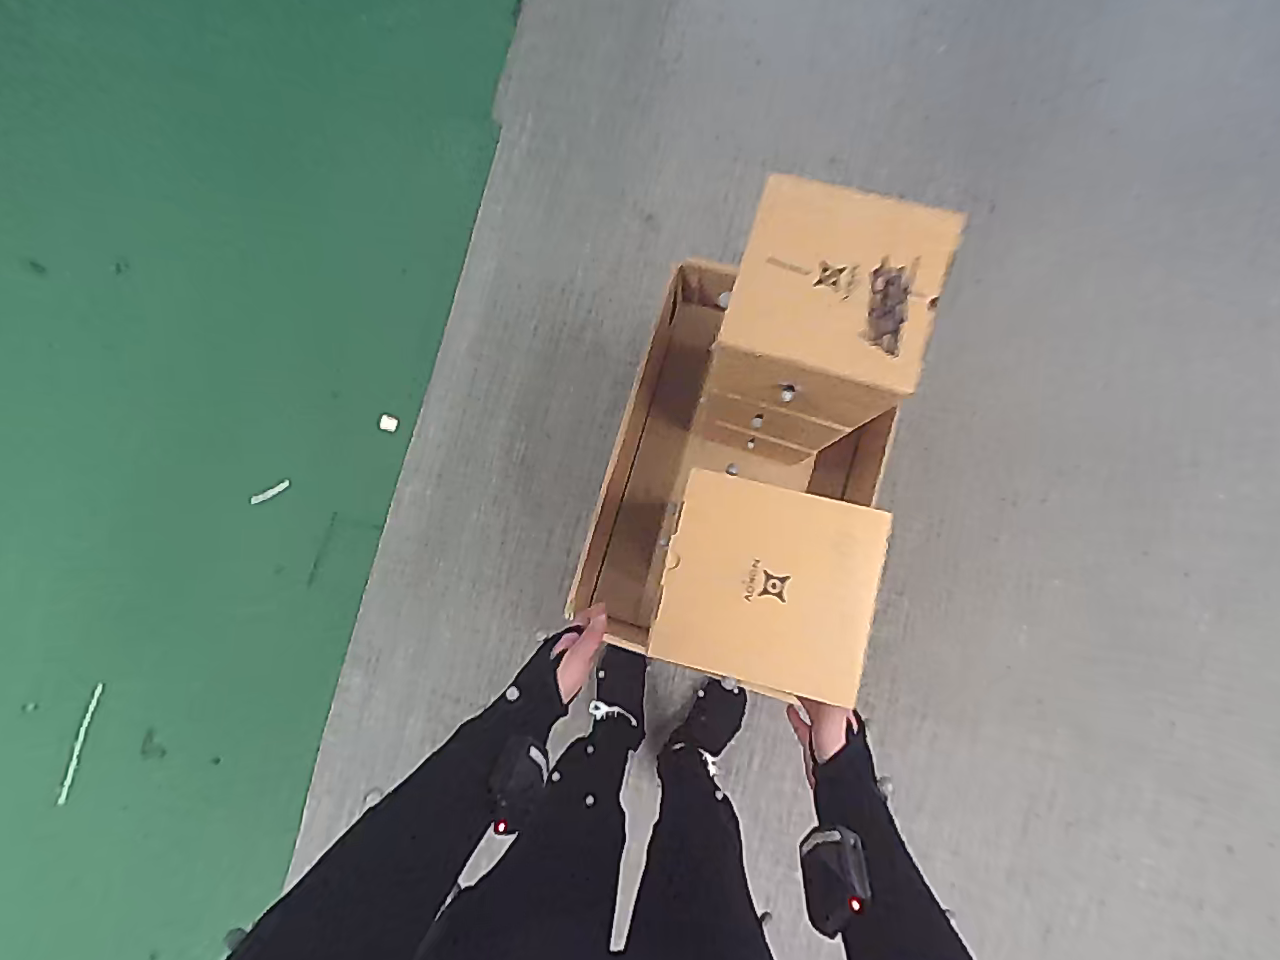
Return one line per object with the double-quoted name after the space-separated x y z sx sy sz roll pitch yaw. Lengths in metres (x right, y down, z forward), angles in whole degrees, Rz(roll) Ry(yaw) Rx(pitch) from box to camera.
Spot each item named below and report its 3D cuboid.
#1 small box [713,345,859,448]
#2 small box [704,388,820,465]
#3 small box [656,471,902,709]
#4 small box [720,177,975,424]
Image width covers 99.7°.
0.202 -0.149 0.717 0.179 0.176 0.168 19 87 6 "small box"
0.211 -0.132 0.880 0.179 0.176 0.168 20 87 5 "small box"
0.121 0.096 0.529 0.179 0.176 0.168 13 85 5 "small box"
0.191 -0.164 0.553 0.179 0.176 0.168 18 87 6 "small box"
